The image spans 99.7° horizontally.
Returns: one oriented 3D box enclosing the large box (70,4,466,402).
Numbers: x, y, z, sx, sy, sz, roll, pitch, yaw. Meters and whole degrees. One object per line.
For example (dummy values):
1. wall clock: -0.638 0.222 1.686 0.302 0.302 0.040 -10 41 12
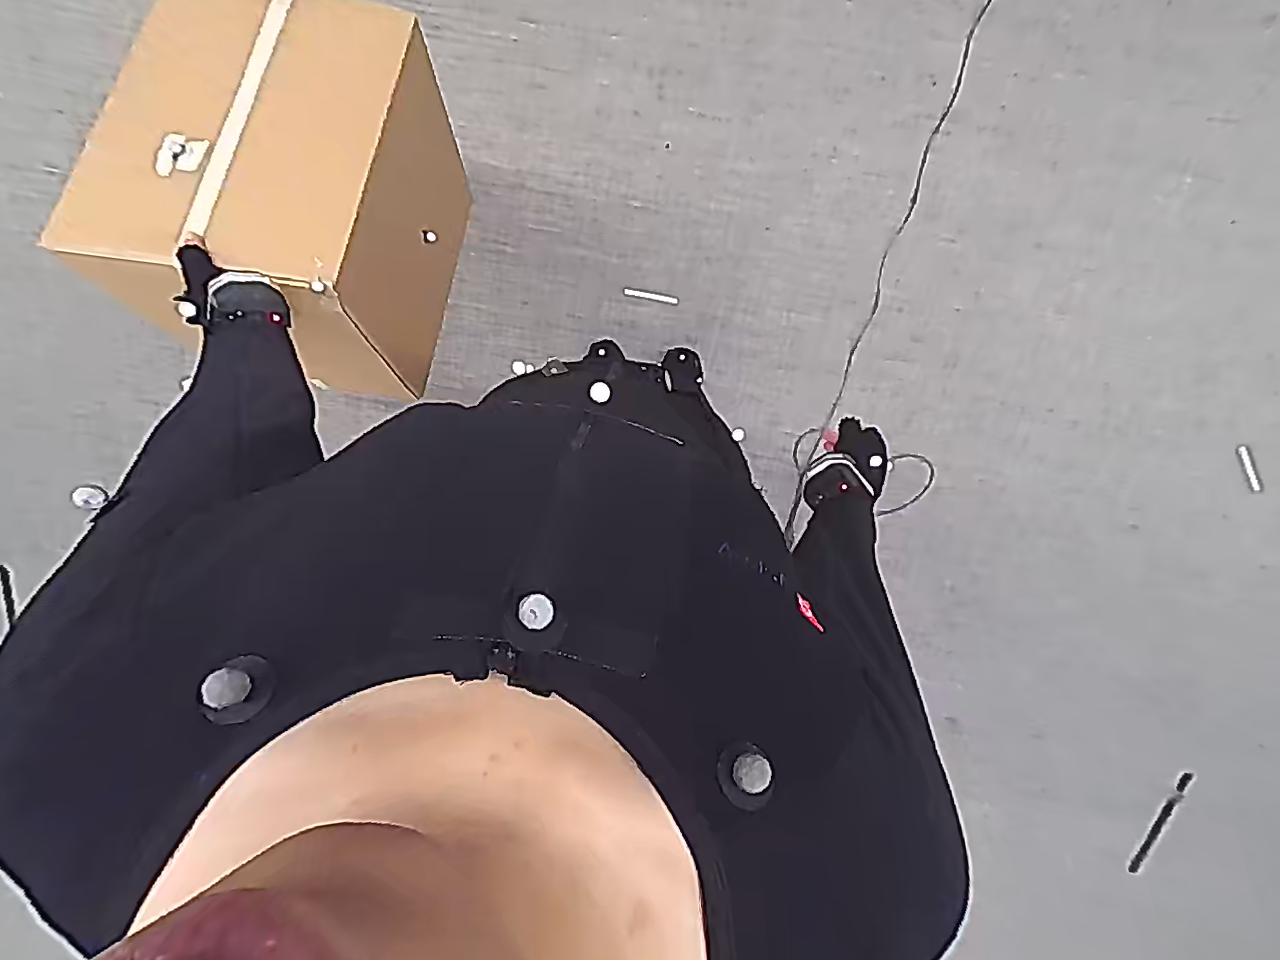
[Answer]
1. large box: -0.474 -0.374 0.799 0.320 0.320 0.408 7 75 -1
